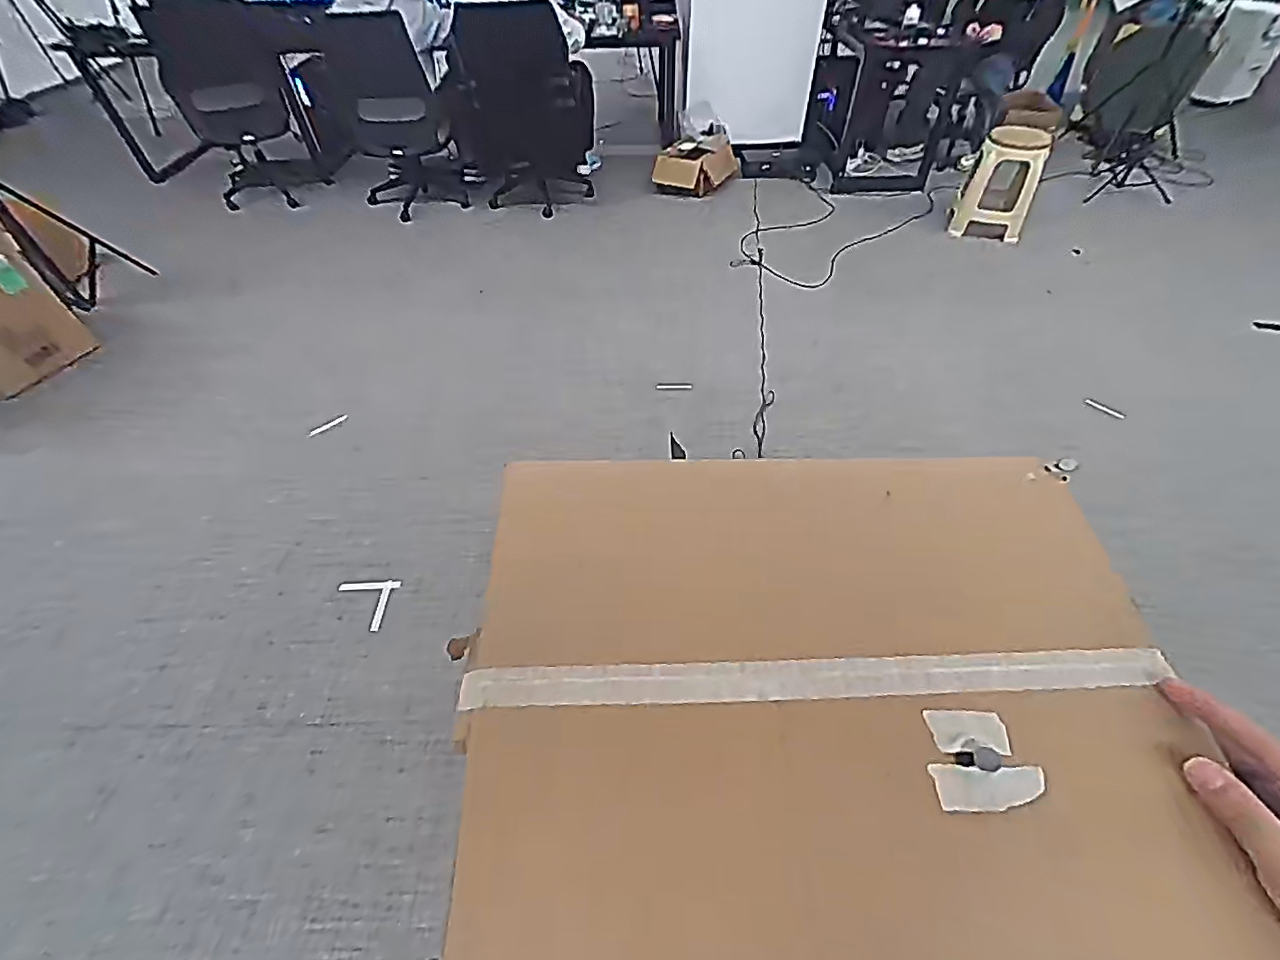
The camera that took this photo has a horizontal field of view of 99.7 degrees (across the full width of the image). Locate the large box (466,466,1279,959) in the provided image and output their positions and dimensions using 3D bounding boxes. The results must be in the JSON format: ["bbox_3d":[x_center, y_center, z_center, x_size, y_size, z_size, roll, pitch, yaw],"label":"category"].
[{"bbox_3d":[0.103,0.203,0.448,0.408,0.320,0.320,-1,57,-3],"label":"large box"}]
